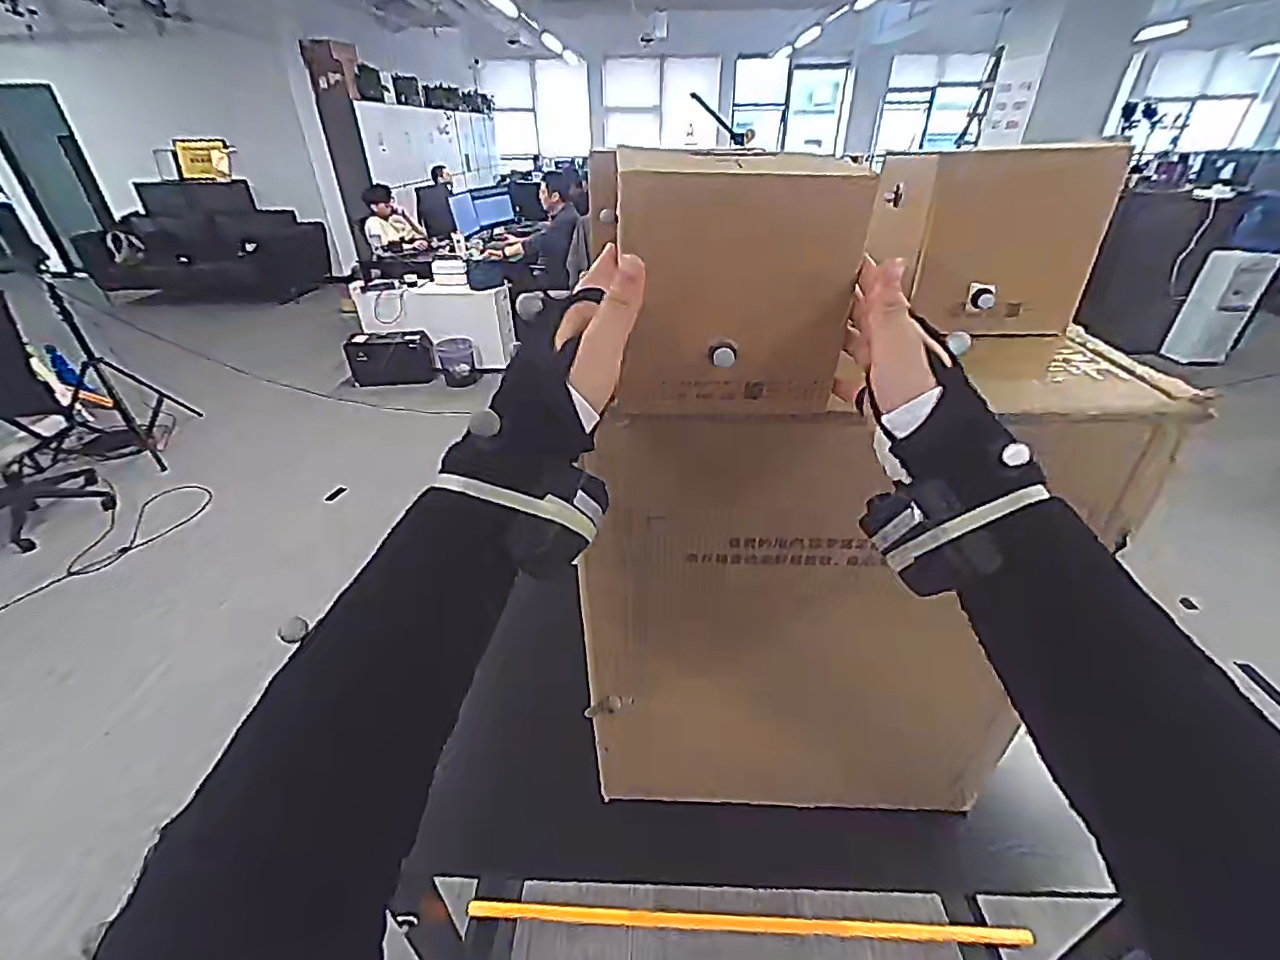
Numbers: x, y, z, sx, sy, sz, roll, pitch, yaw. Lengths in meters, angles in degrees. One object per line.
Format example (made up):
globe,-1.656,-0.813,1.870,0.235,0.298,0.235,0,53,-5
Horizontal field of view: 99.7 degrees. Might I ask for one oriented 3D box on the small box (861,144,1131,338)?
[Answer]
small box,0.355,-0.261,0.588,0.168,0.176,0.179,0,32,5
